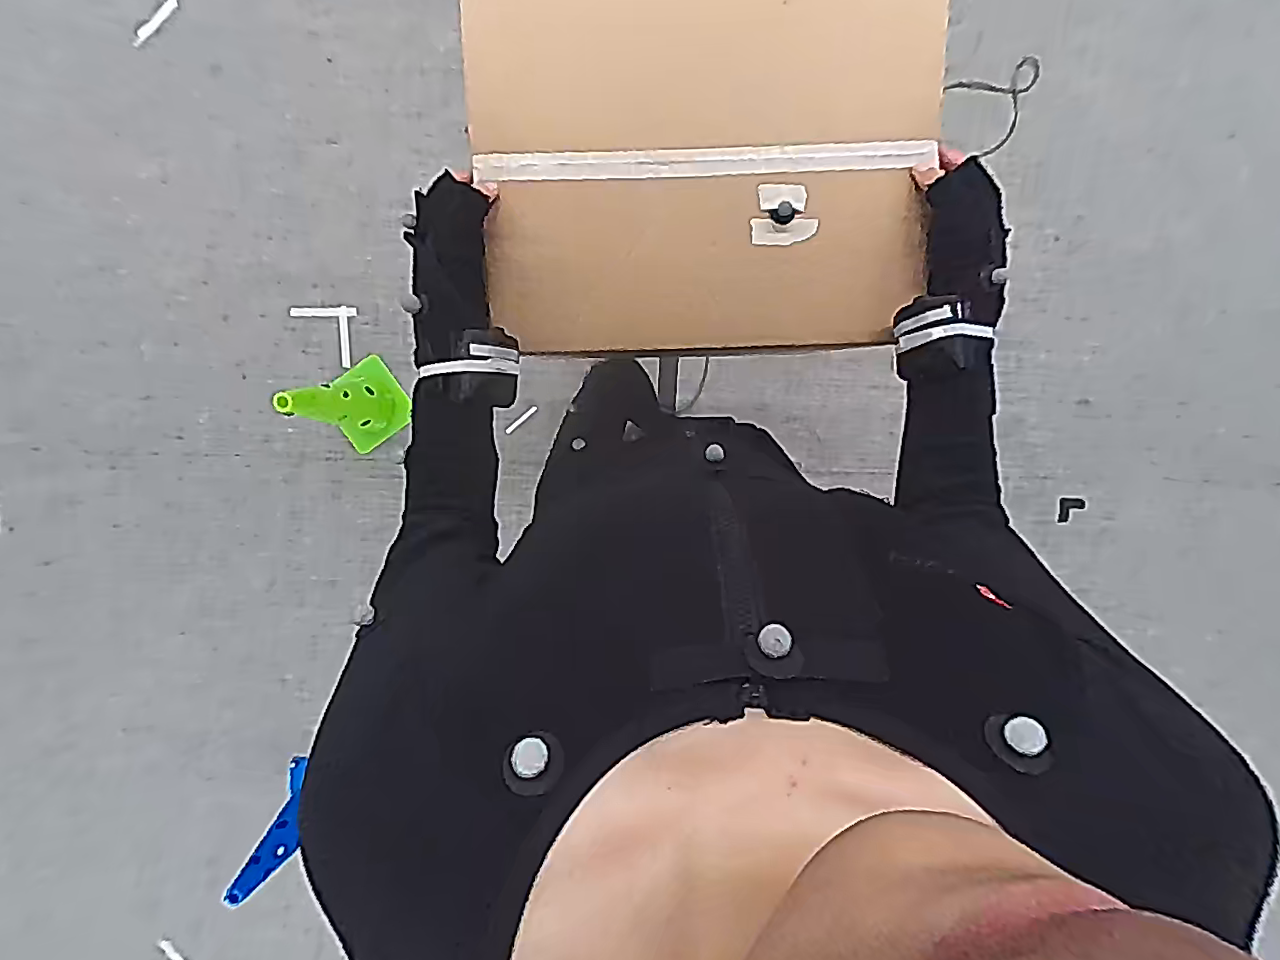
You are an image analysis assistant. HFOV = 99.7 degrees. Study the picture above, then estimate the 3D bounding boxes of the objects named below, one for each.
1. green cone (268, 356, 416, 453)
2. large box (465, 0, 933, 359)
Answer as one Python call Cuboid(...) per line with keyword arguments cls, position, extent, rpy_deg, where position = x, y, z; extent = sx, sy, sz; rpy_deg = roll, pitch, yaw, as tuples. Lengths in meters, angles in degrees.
Cuboid(cls="green cone", position=(-0.728, -0.179, 1.270), extent=(0.202, 0.368, 0.200), rpy_deg=(-35, 95, 5))
Cuboid(cls="large box", position=(0.051, -0.311, 0.625), extent=(0.408, 0.320, 0.320), rpy_deg=(-2, 102, -1))
